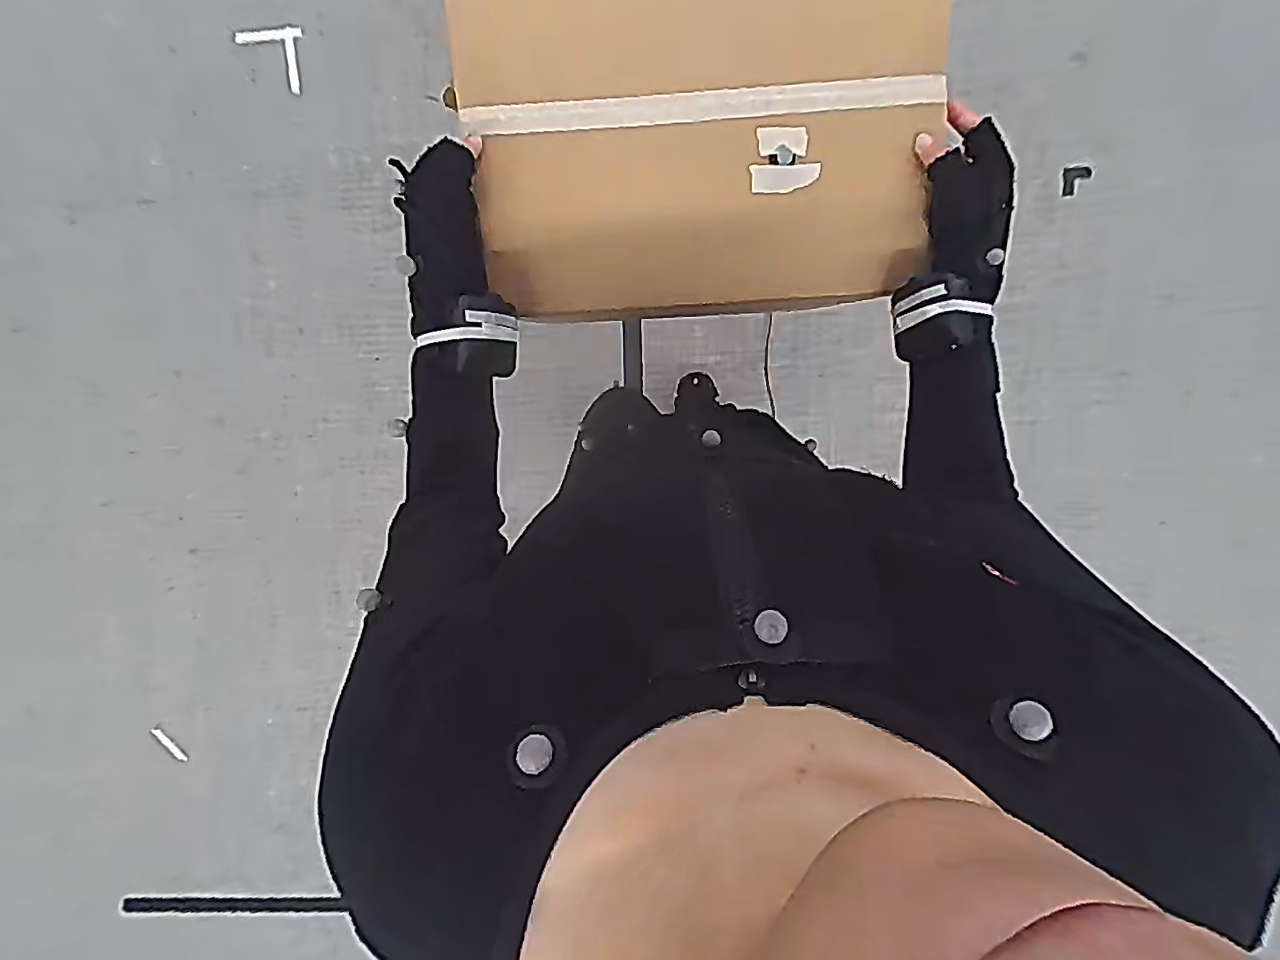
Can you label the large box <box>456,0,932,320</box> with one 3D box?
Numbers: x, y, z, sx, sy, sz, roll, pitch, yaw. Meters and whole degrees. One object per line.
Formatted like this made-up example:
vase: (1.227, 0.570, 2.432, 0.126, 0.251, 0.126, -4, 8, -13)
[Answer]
large box: (0.048, -0.363, 0.615, 0.408, 0.320, 0.320, -4, 106, 0)
